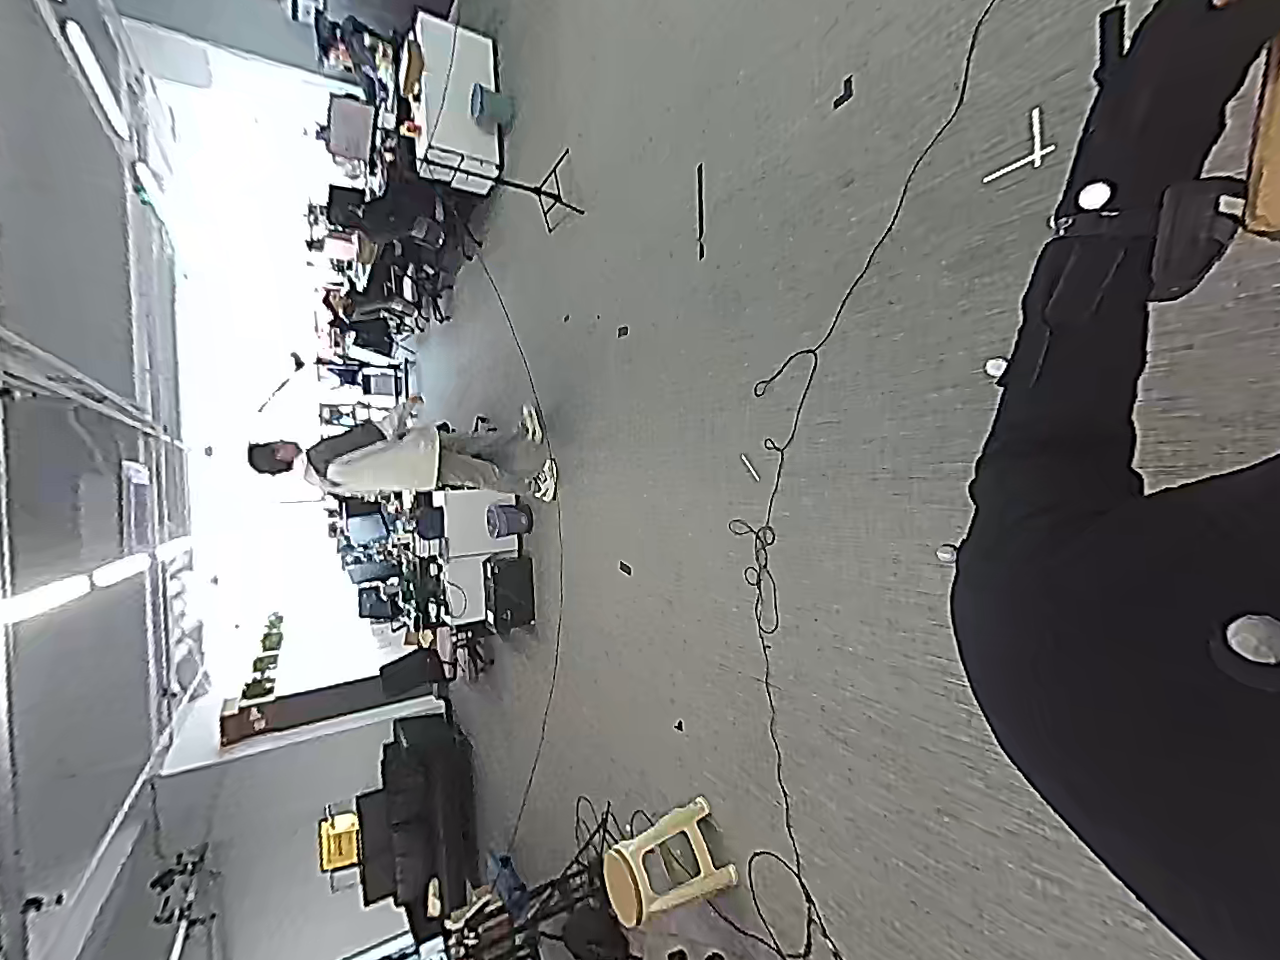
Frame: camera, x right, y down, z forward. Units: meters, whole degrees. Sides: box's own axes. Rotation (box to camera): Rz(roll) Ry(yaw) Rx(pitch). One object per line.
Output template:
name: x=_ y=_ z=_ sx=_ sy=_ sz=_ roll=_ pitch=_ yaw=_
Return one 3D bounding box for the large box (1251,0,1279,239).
large box: x=0.586 y=-0.302 z=0.220 sx=0.408 sy=0.320 sz=0.320 roll=12 pitch=111 yaw=53
